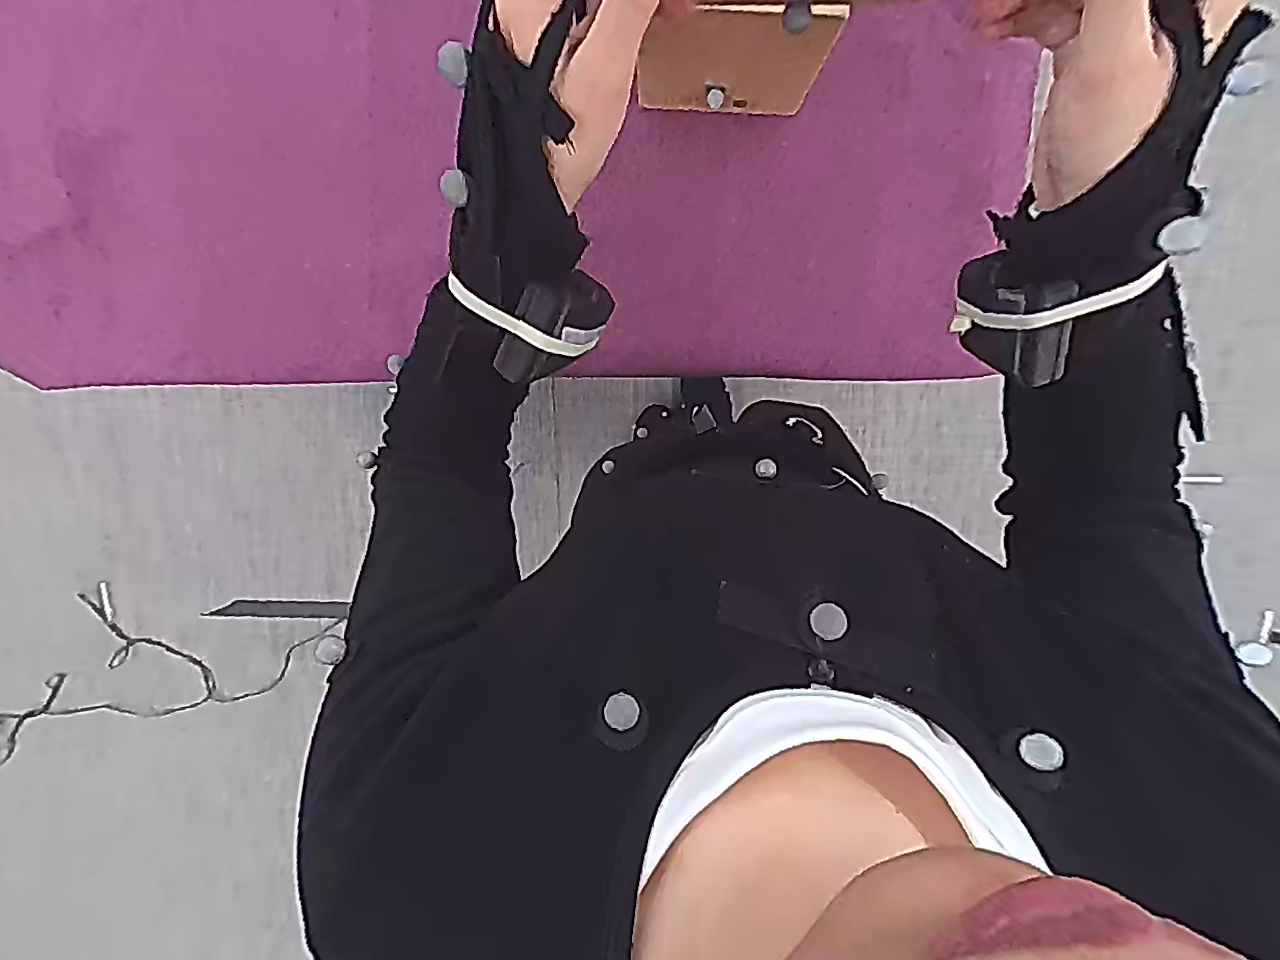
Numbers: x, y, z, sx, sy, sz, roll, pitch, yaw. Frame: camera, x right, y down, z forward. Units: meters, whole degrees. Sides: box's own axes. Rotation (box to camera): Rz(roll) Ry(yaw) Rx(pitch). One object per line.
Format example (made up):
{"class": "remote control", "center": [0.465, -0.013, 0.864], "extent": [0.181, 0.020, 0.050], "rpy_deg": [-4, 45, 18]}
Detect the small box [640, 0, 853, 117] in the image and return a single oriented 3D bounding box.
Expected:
{"class": "small box", "center": [0.087, -0.456, 0.471], "extent": [0.168, 0.176, 0.179], "rpy_deg": [4, 102, 1]}

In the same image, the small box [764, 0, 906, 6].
{"class": "small box", "center": [0.087, -0.313, 0.207], "extent": [0.168, 0.176, 0.179], "rpy_deg": [2, 125, 1]}
